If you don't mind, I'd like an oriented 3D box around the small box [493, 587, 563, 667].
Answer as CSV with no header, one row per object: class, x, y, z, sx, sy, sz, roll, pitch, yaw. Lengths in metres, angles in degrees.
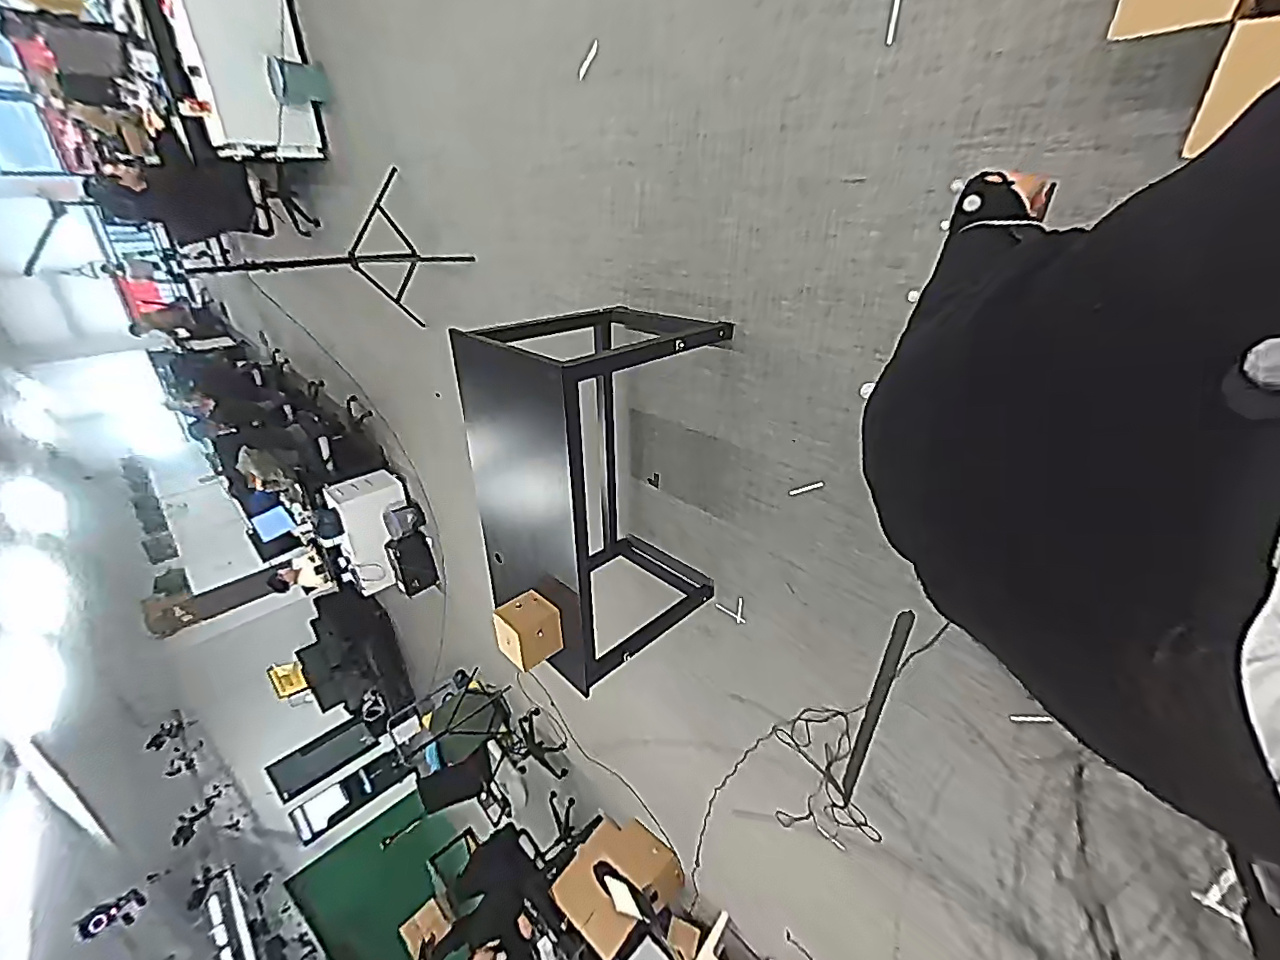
small box,-0.386,0.504,1.883,0.168,0.176,0.179,24,127,42
